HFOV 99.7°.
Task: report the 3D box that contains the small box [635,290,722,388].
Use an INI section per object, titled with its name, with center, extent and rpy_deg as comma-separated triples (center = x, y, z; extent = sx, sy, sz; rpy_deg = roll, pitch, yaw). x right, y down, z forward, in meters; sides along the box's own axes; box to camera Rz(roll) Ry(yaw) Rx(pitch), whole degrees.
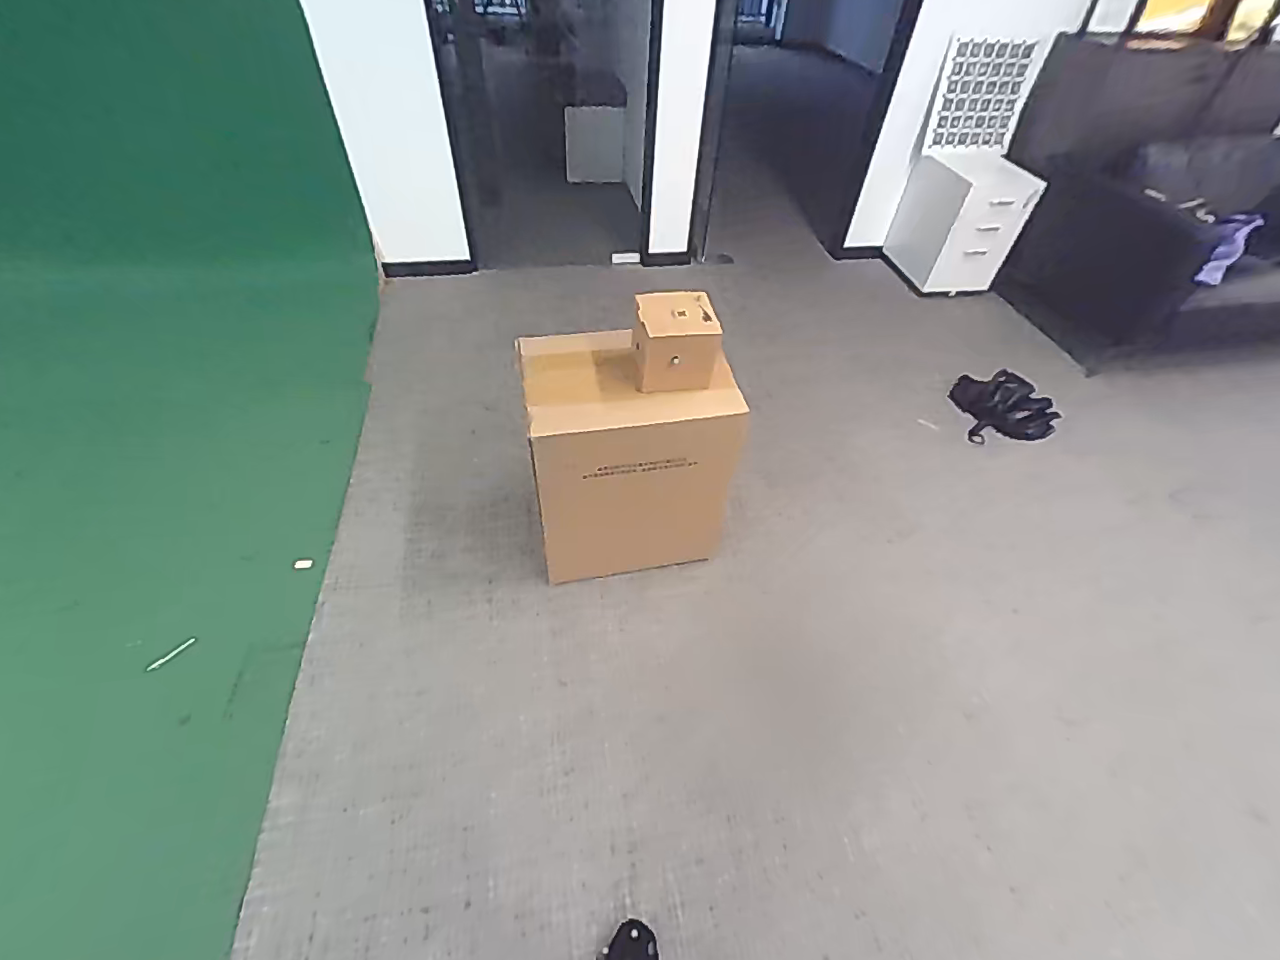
[small box]
center = 0.084, -0.338, 1.316
extent = 0.179, 0.176, 0.168
rpy_deg = -6, 54, -9
